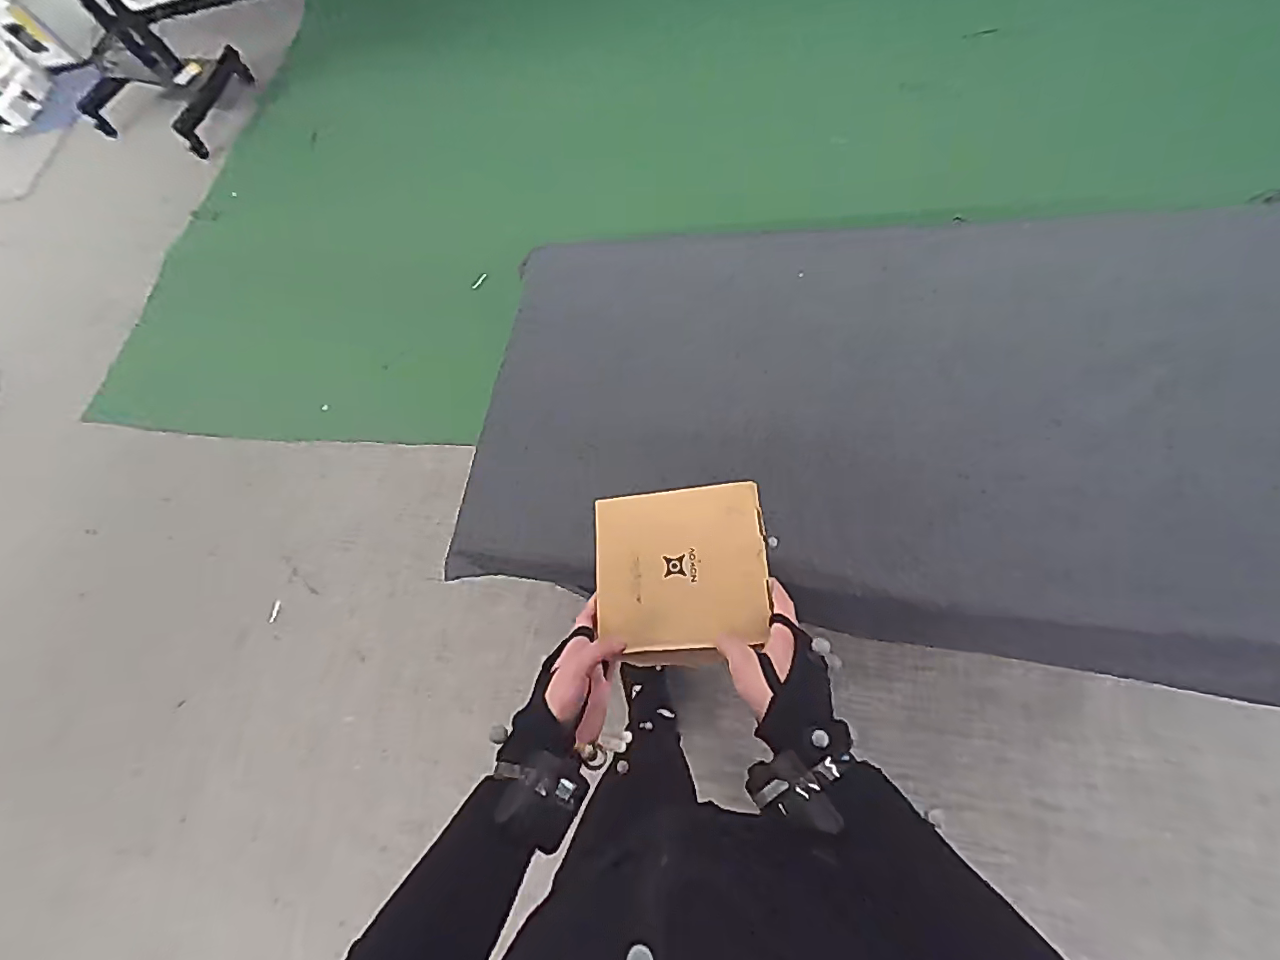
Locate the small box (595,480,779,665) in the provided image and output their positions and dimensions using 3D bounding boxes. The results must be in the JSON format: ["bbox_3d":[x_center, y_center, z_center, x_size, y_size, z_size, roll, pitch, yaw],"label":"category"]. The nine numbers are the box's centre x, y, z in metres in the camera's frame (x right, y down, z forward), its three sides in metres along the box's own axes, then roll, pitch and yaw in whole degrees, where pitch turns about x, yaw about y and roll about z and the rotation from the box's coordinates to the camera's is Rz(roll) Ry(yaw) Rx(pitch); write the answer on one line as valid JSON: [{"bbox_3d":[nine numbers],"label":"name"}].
[{"bbox_3d":[0.058,0.113,0.609,0.179,0.176,0.168,-6,64,12],"label":"small box"}]
